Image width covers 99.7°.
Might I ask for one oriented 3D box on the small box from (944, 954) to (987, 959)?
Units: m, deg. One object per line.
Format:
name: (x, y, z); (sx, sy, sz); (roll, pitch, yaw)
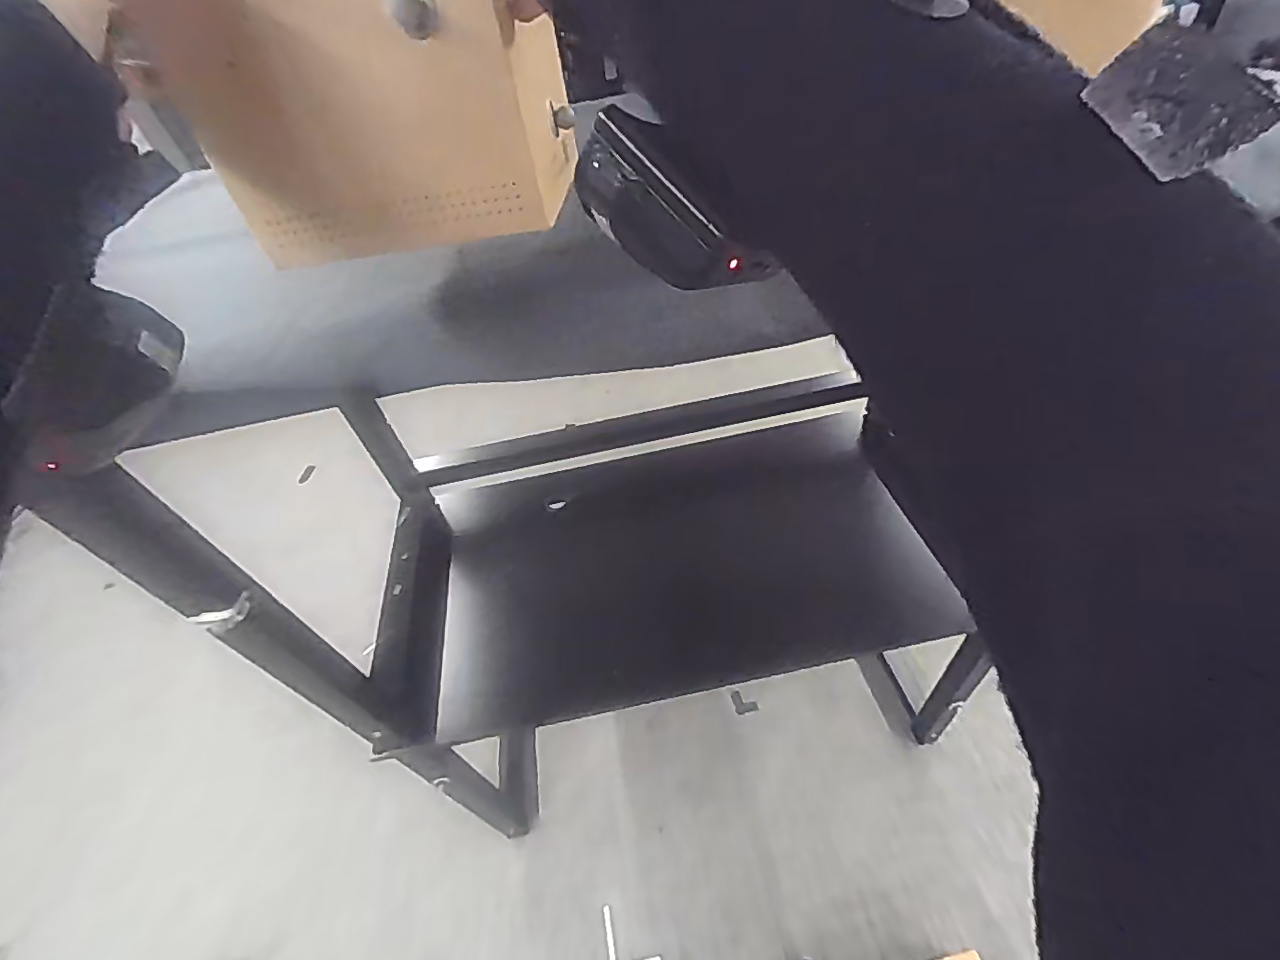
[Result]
small box: (0.613, 1.053, 1.053); (0.179, 0.176, 0.168); (-14, 45, -2)
